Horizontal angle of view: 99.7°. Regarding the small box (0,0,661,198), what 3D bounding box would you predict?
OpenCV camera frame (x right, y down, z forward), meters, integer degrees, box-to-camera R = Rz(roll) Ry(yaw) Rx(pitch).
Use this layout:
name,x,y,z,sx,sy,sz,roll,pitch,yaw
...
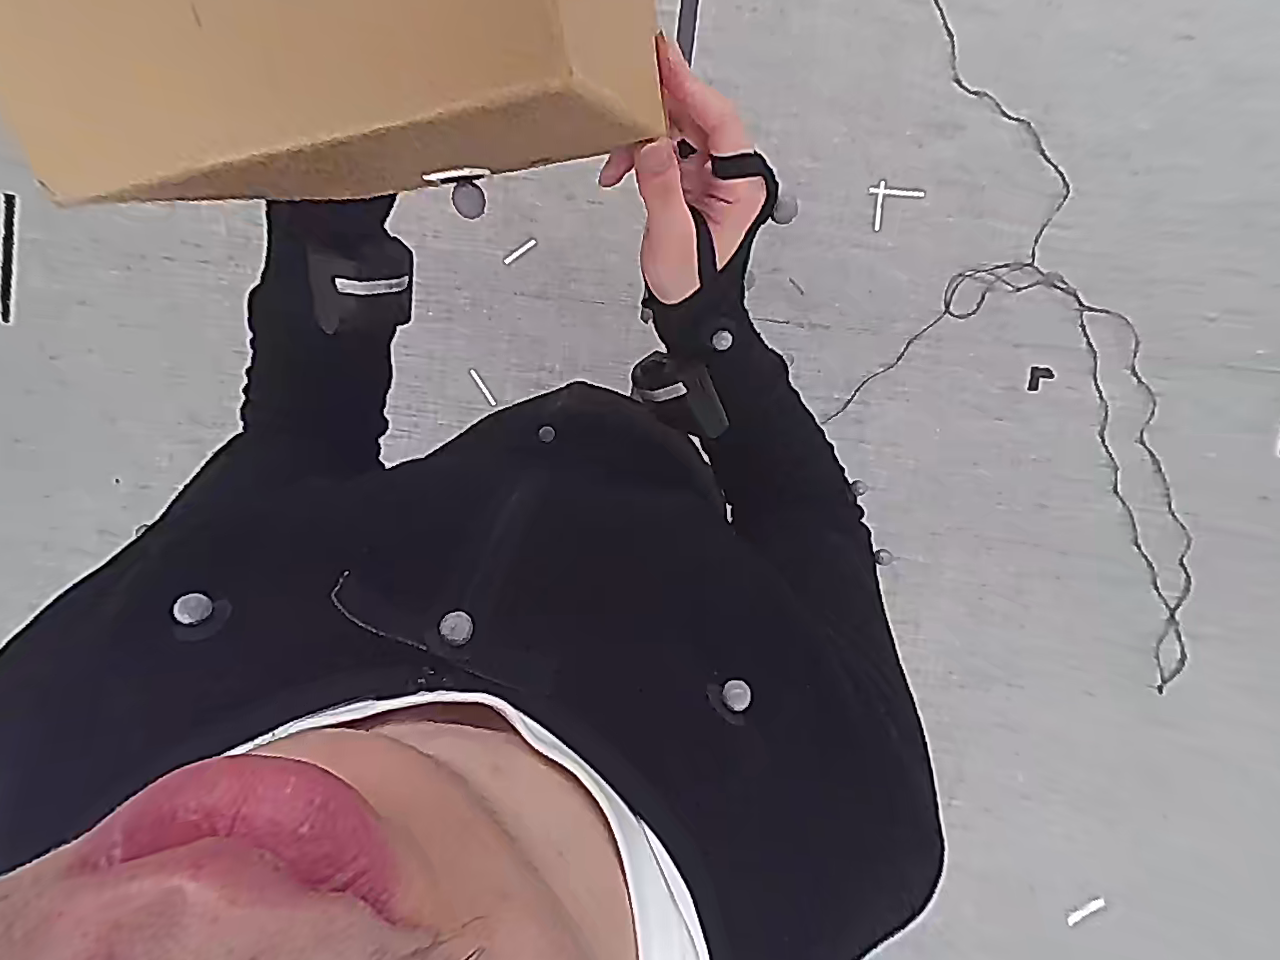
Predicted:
name,x,y,z,sx,sy,sz,roll,pitch,yaw
small box,-0.093,-0.207,0.187,0.168,0.176,0.179,-4,117,14
